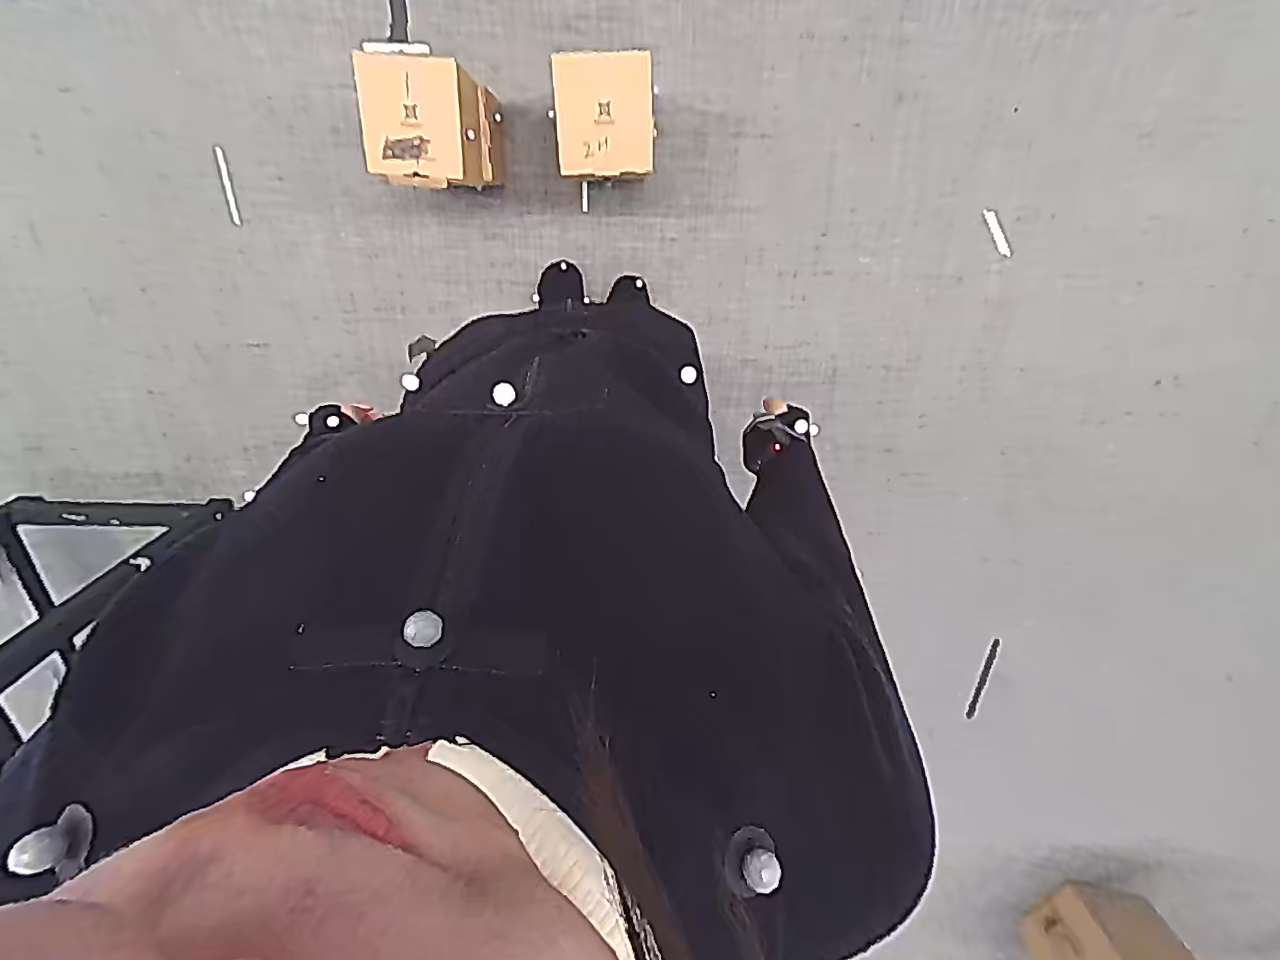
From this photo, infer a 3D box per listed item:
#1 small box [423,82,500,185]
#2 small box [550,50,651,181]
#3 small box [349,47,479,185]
[{"bbox_3d":[-0.391,-0.710,1.116,0.179,0.176,0.168,-1,115,-3],"label":"small box"},{"bbox_3d":[-0.068,-0.648,0.980,0.168,0.176,0.179,-2,116,-1],"label":"small box"},{"bbox_3d":[-0.391,-0.637,0.969,0.168,0.176,0.179,2,114,-5],"label":"small box"}]
